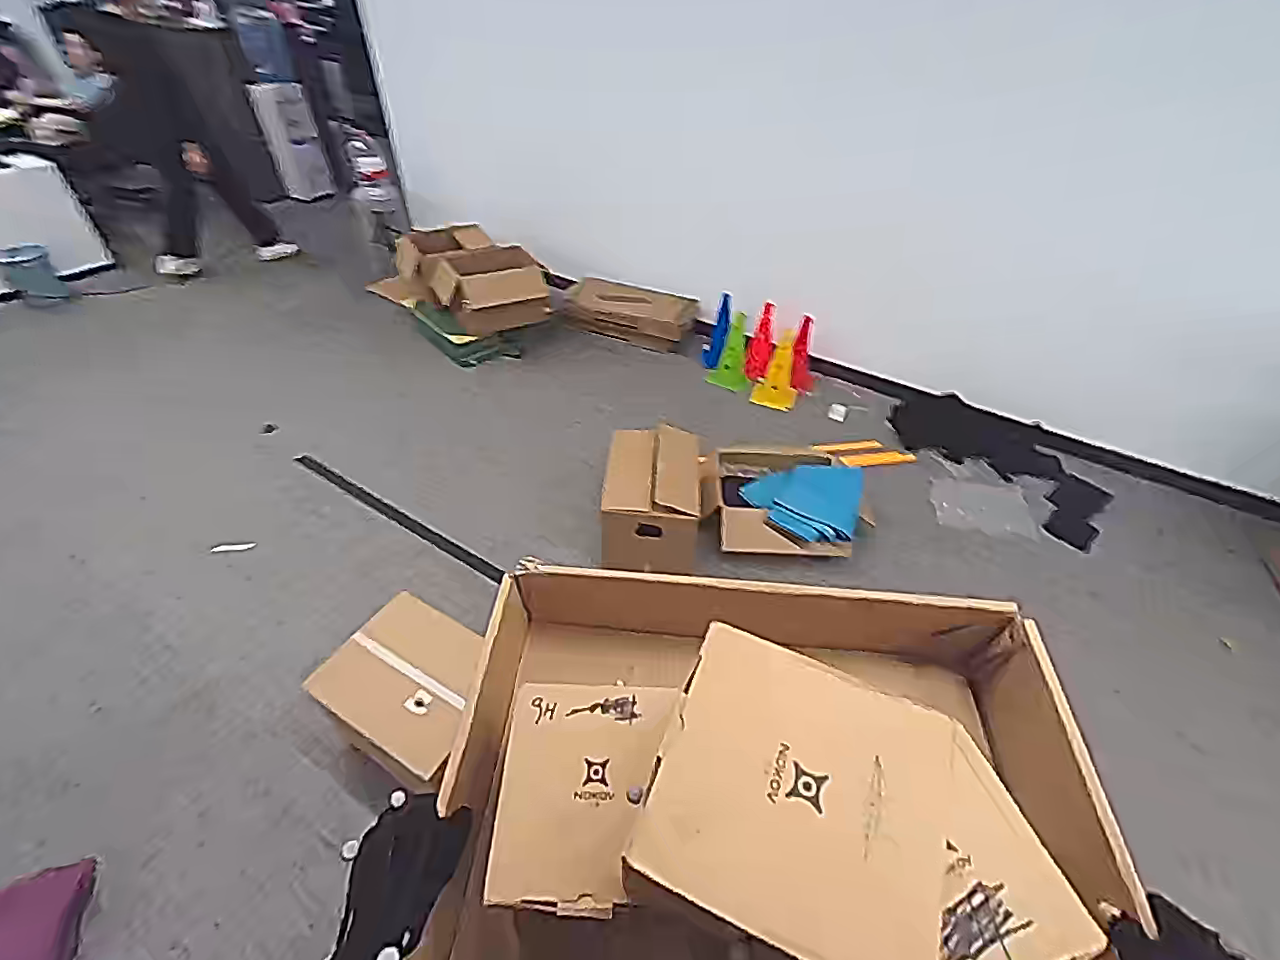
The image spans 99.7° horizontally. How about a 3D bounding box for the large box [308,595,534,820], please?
[{"bbox_3d":[-0.531,0.570,1.379,0.408,0.320,0.320,23,47,19],"label":"large box"}]
